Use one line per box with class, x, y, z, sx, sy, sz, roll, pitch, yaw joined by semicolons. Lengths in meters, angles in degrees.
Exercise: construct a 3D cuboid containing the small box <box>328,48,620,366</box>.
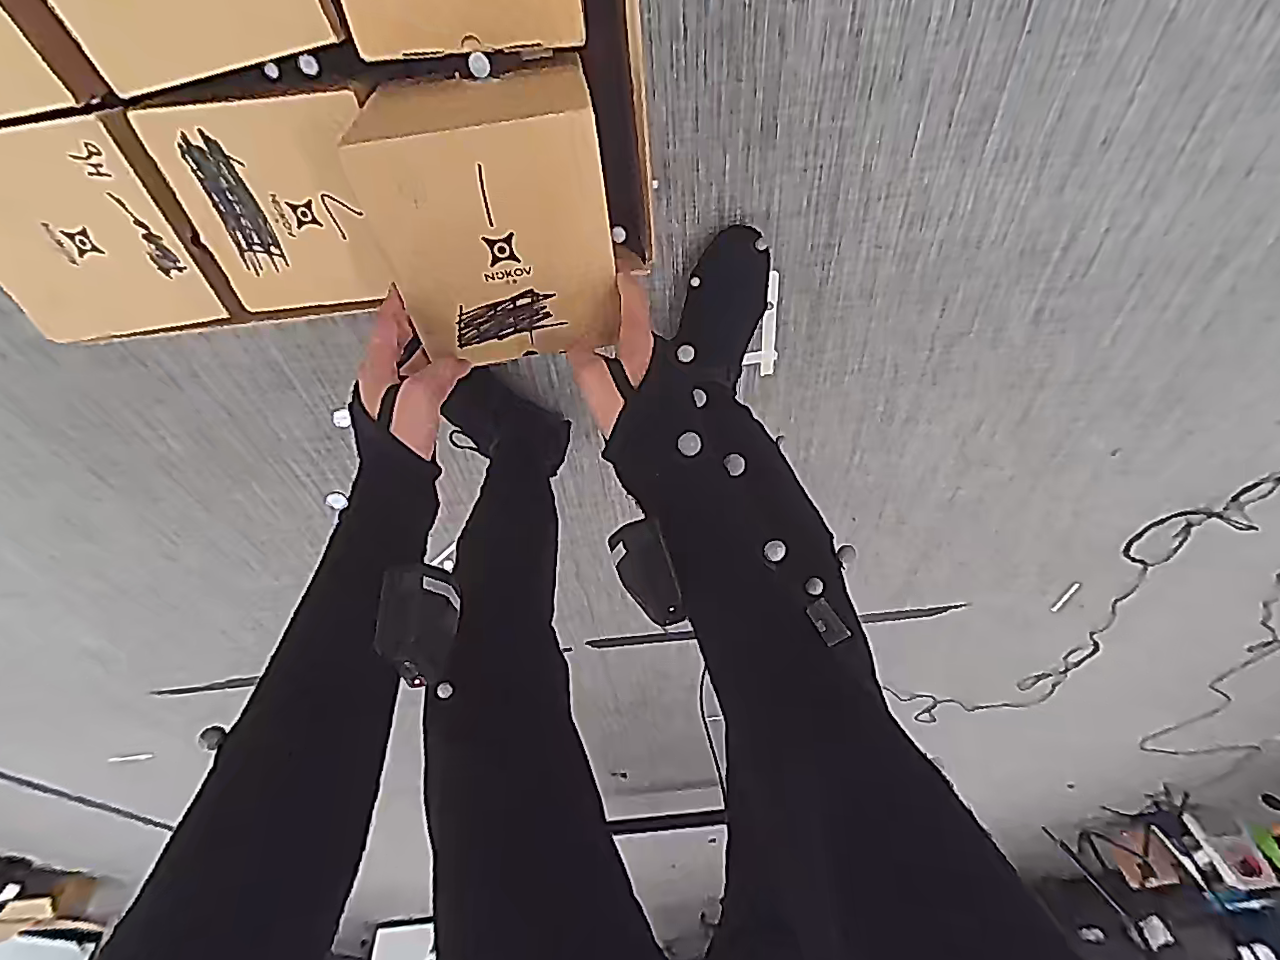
small box;-0.113;-0.223;0.445;0.168;0.176;0.179;-10;137;-2
